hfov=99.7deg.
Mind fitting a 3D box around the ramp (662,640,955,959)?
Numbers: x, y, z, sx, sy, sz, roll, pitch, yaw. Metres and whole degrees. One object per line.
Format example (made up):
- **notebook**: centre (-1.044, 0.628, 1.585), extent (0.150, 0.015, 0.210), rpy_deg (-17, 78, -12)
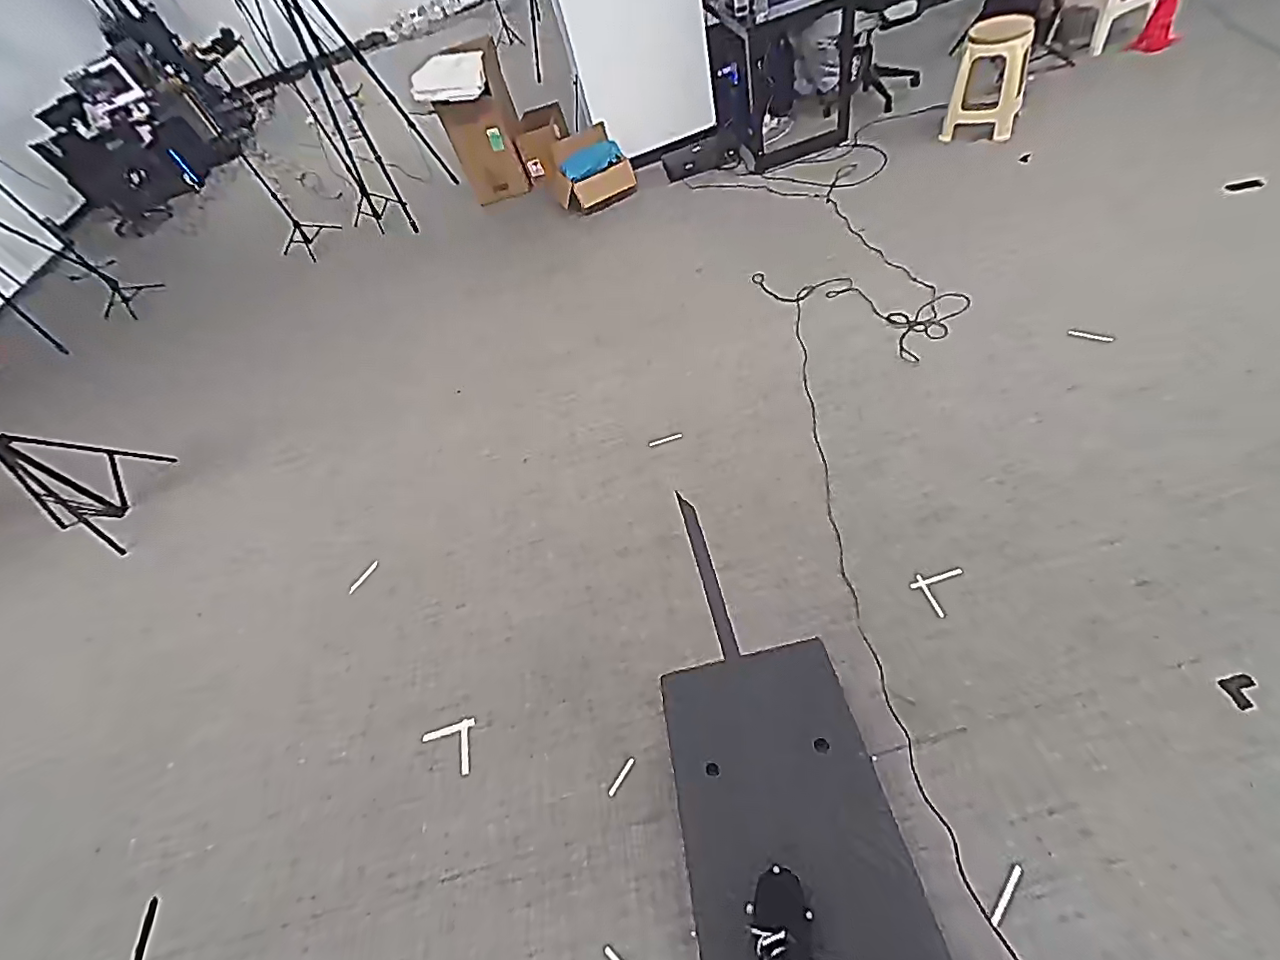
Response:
- **ramp**: centre (0.346, 0.851, 1.223), extent (0.509, 0.206, 0.991), rpy_deg (-18, 50, 5)
